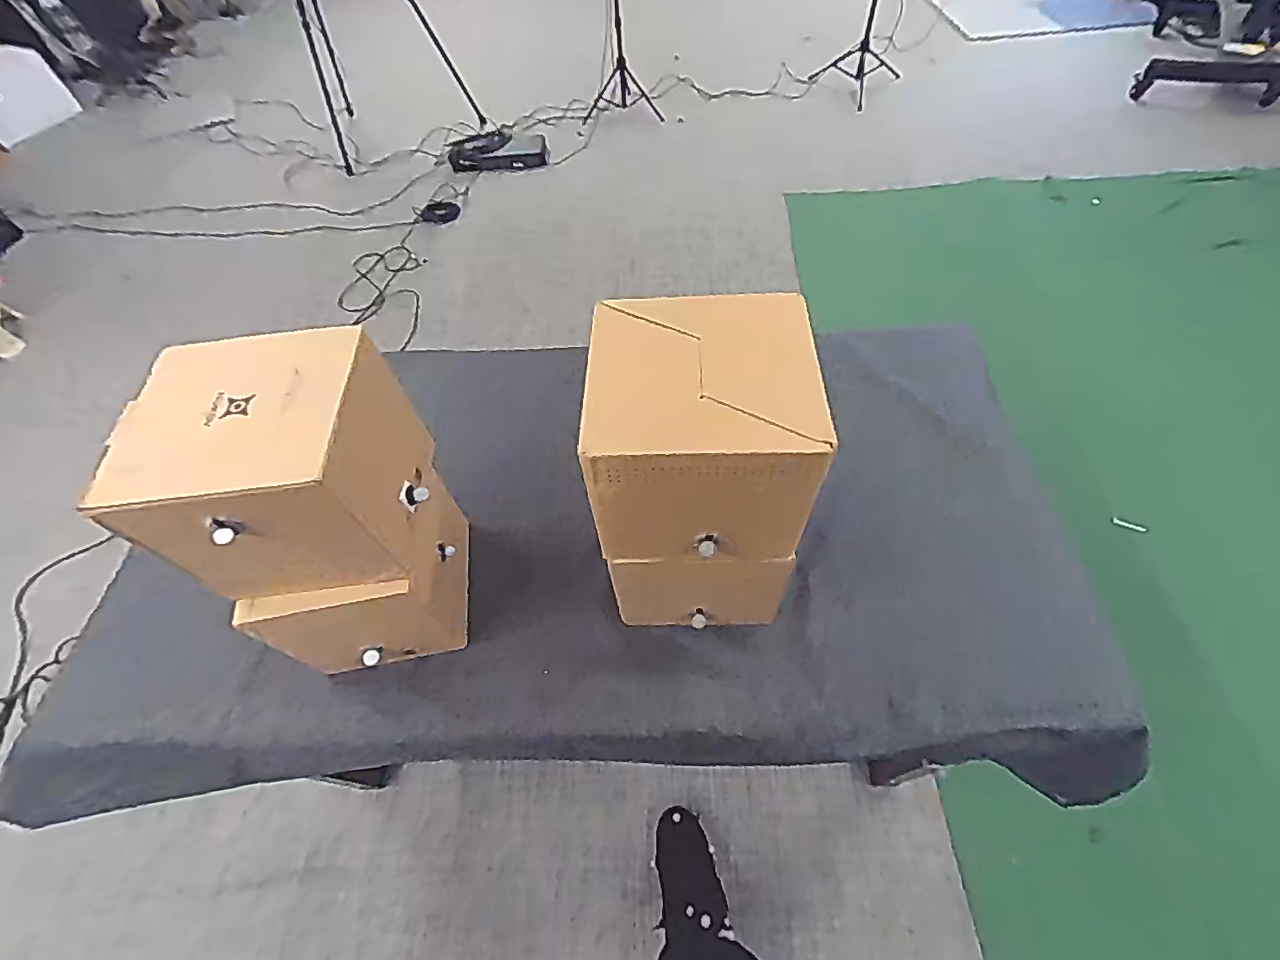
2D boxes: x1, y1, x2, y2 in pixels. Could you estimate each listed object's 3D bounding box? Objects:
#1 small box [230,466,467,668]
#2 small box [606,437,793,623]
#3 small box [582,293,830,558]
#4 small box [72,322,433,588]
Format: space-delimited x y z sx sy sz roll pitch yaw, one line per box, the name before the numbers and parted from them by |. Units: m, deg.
small box | -0.303 0.090 0.608 0.168 0.176 0.179 -10 56 -3
small box | 0.059 0.053 0.608 0.179 0.176 0.168 -1 56 3
small box | 0.047 -0.044 0.471 0.179 0.176 0.168 -1 56 4
small box | -0.309 -0.014 0.483 0.179 0.176 0.168 -6 57 -1
